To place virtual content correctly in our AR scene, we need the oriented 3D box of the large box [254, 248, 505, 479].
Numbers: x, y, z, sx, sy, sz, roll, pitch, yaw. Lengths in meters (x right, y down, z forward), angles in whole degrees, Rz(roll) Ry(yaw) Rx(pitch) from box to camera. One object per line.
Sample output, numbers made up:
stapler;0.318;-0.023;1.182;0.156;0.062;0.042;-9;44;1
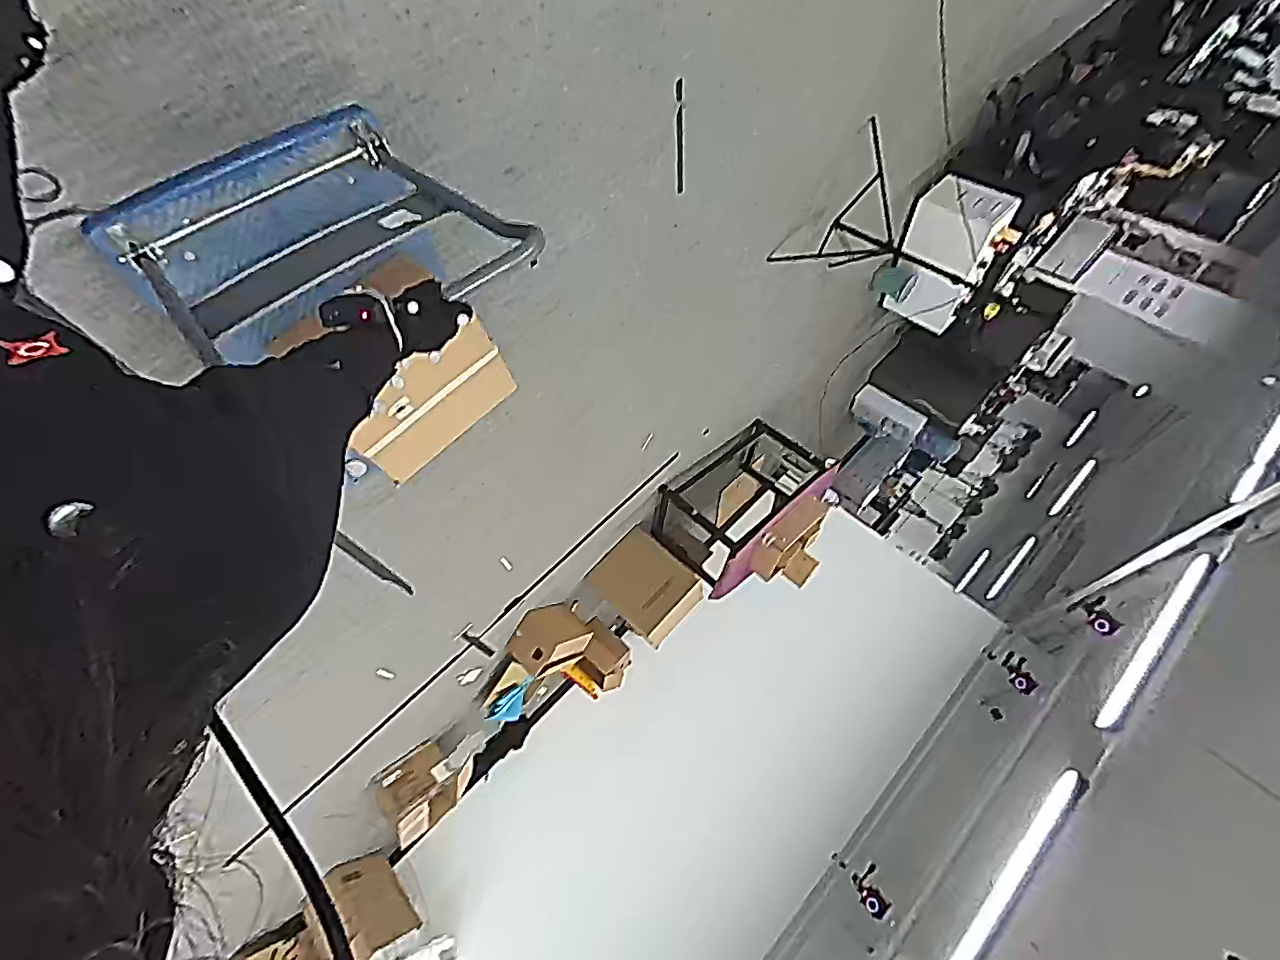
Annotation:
large box;-0.628;-0.288;1.351;0.408;0.320;0.320;-43;153;-13
